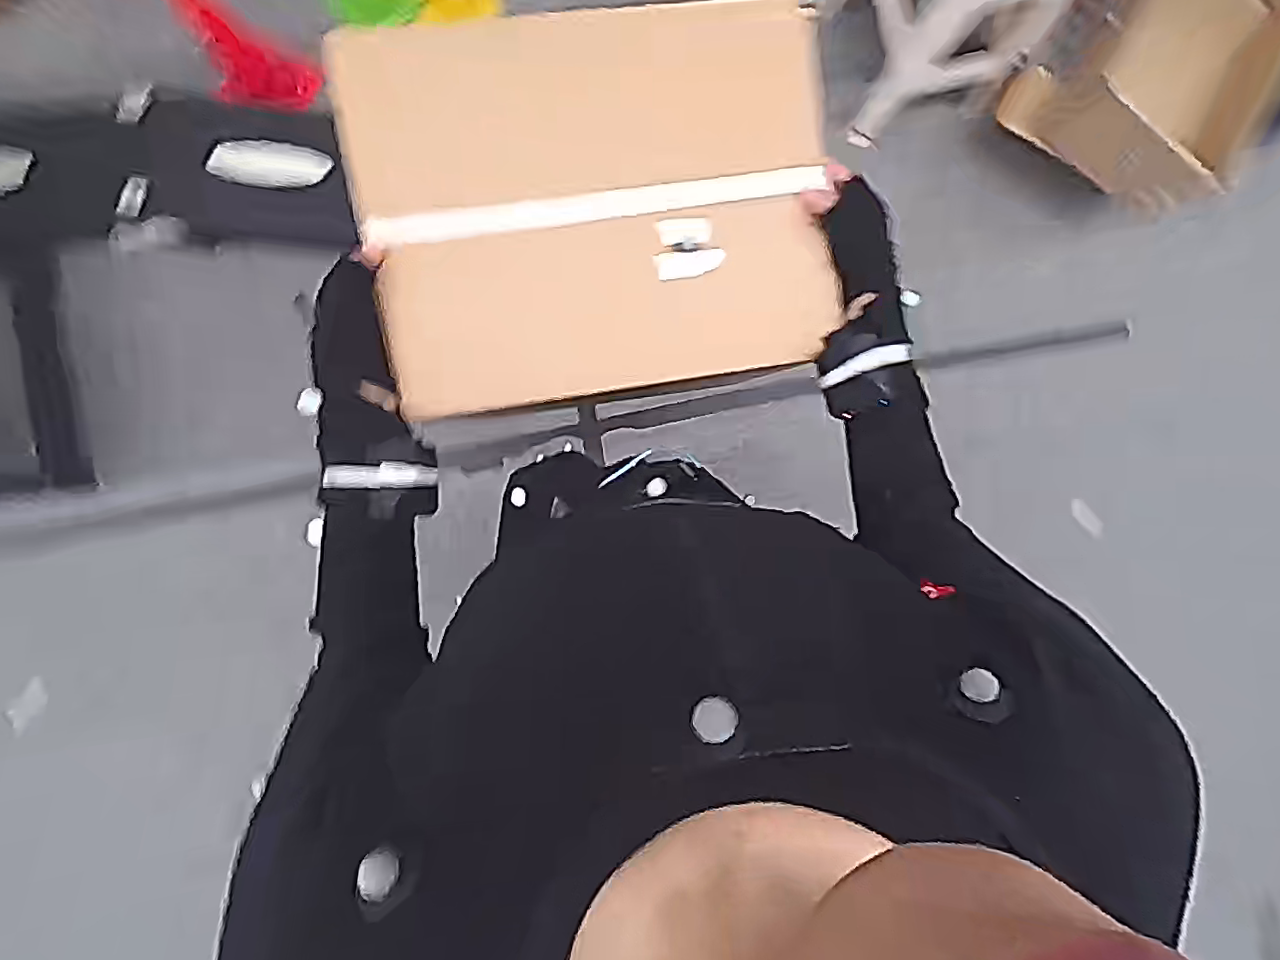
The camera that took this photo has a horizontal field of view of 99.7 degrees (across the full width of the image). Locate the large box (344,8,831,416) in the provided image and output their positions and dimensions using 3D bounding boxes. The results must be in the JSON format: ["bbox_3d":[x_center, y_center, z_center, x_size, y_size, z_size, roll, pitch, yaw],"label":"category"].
[{"bbox_3d":[-0.049,-0.258,0.632,0.408,0.320,0.320,-9,98,-6],"label":"large box"}]
